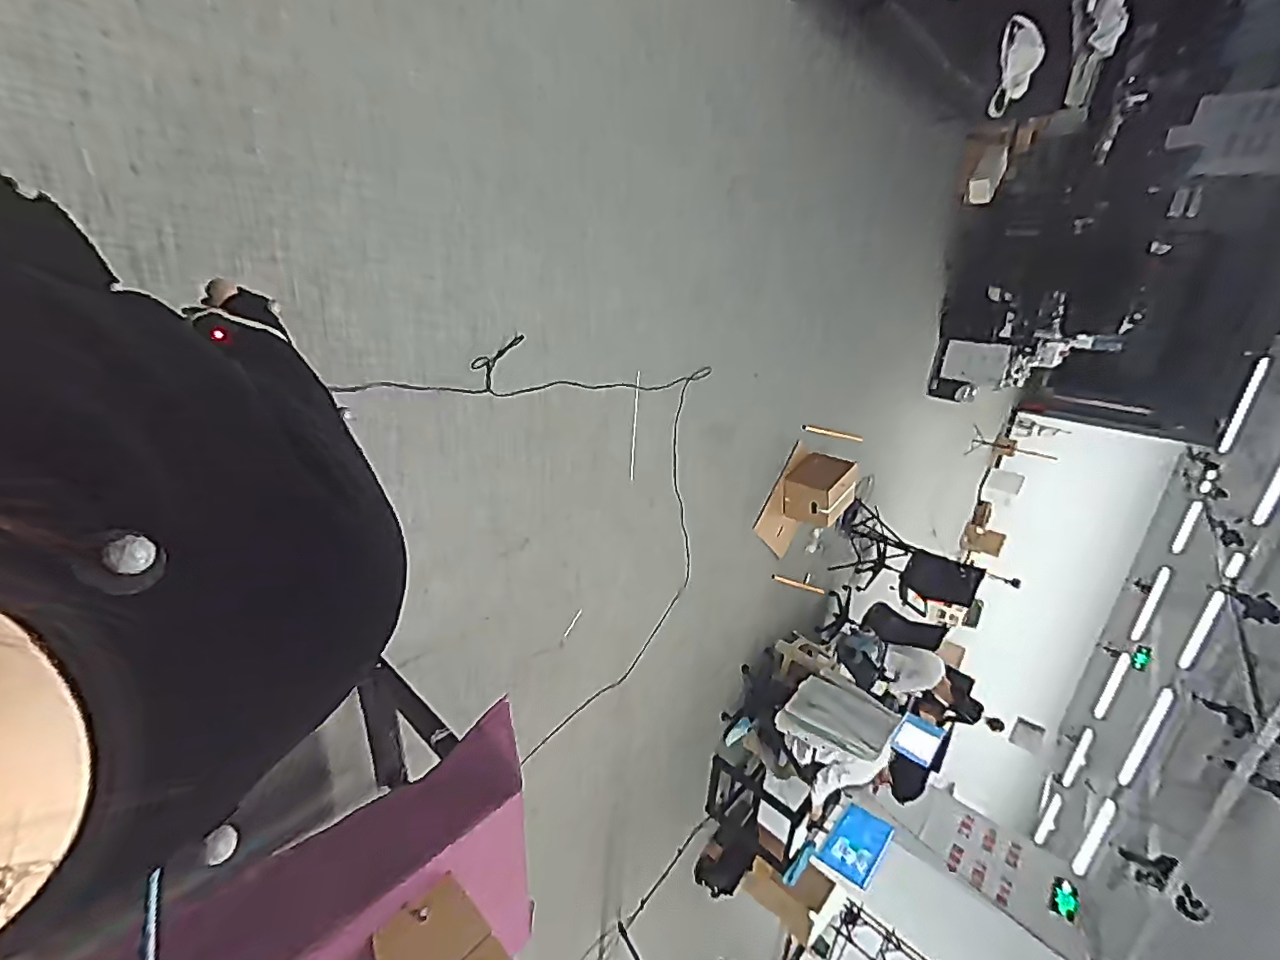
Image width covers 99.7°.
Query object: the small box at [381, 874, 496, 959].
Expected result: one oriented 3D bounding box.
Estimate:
[{"bbox_3d":[-0.414,0.978,1.109,0.179,0.176,0.168,-18,120,-44],"label":"small box"}]
